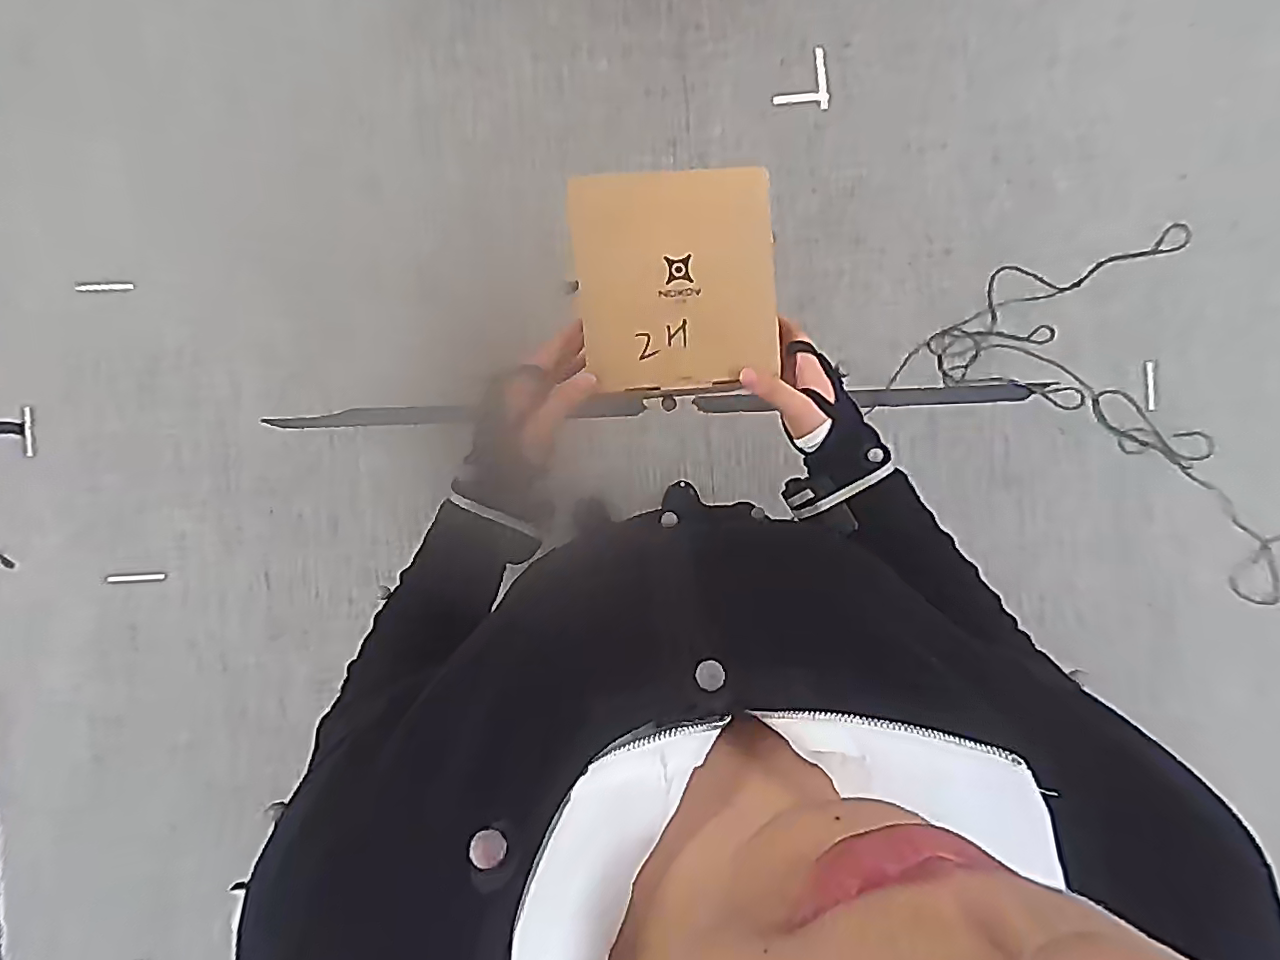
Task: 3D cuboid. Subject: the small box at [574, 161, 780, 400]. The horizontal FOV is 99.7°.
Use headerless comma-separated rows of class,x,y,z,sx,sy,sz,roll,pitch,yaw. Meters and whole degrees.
small box,0.026,-0.177,0.527,0.168,0.176,0.179,-5,95,-4
